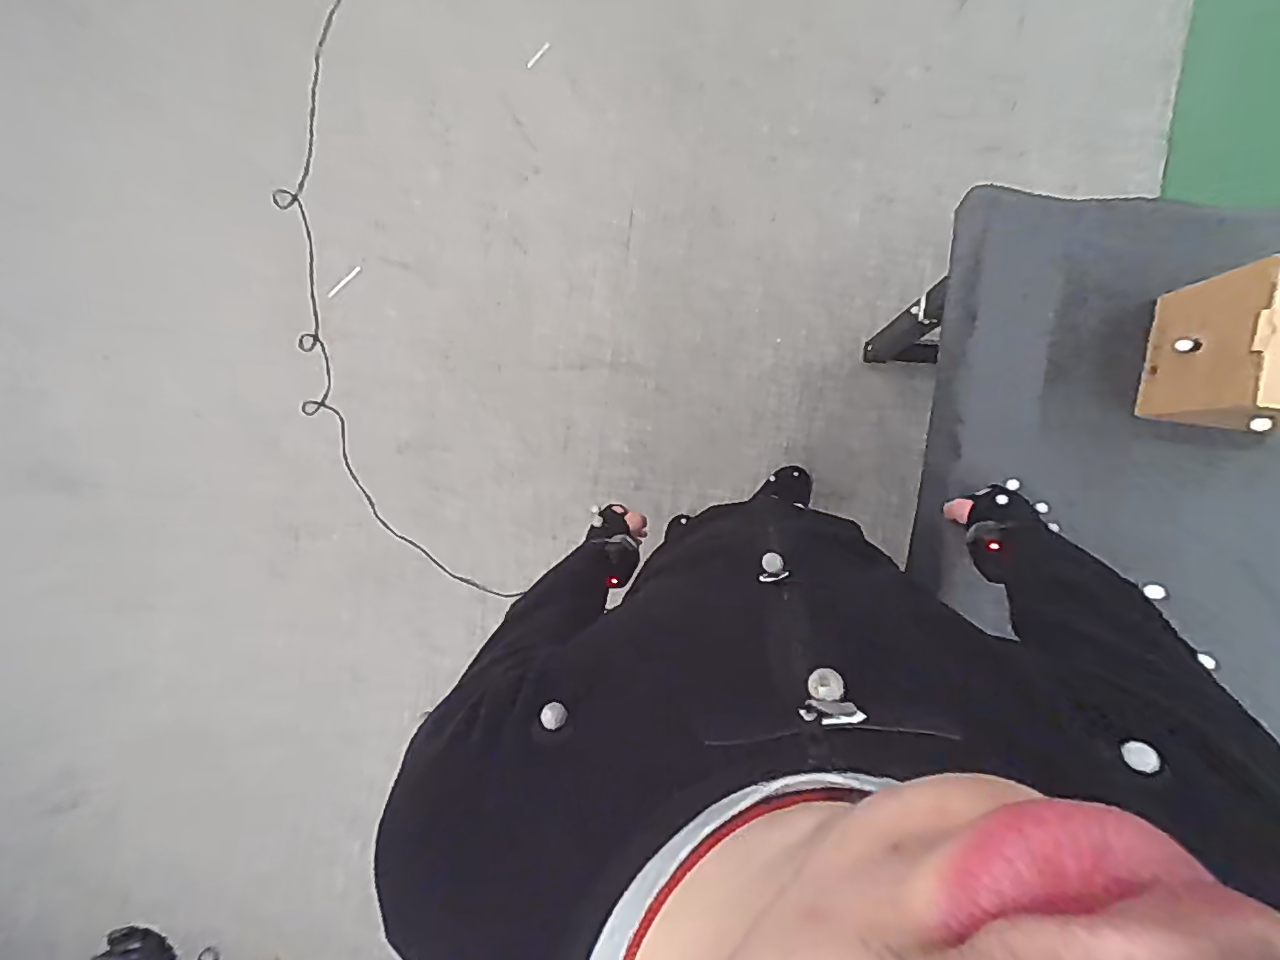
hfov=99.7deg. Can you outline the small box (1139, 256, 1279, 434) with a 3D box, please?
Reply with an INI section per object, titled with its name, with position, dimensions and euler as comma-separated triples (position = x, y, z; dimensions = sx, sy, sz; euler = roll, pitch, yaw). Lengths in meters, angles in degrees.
[small box]
position = 0.759, -0.148, 0.645
dimensions = 0.179, 0.176, 0.168
euler = 9, 94, 8
